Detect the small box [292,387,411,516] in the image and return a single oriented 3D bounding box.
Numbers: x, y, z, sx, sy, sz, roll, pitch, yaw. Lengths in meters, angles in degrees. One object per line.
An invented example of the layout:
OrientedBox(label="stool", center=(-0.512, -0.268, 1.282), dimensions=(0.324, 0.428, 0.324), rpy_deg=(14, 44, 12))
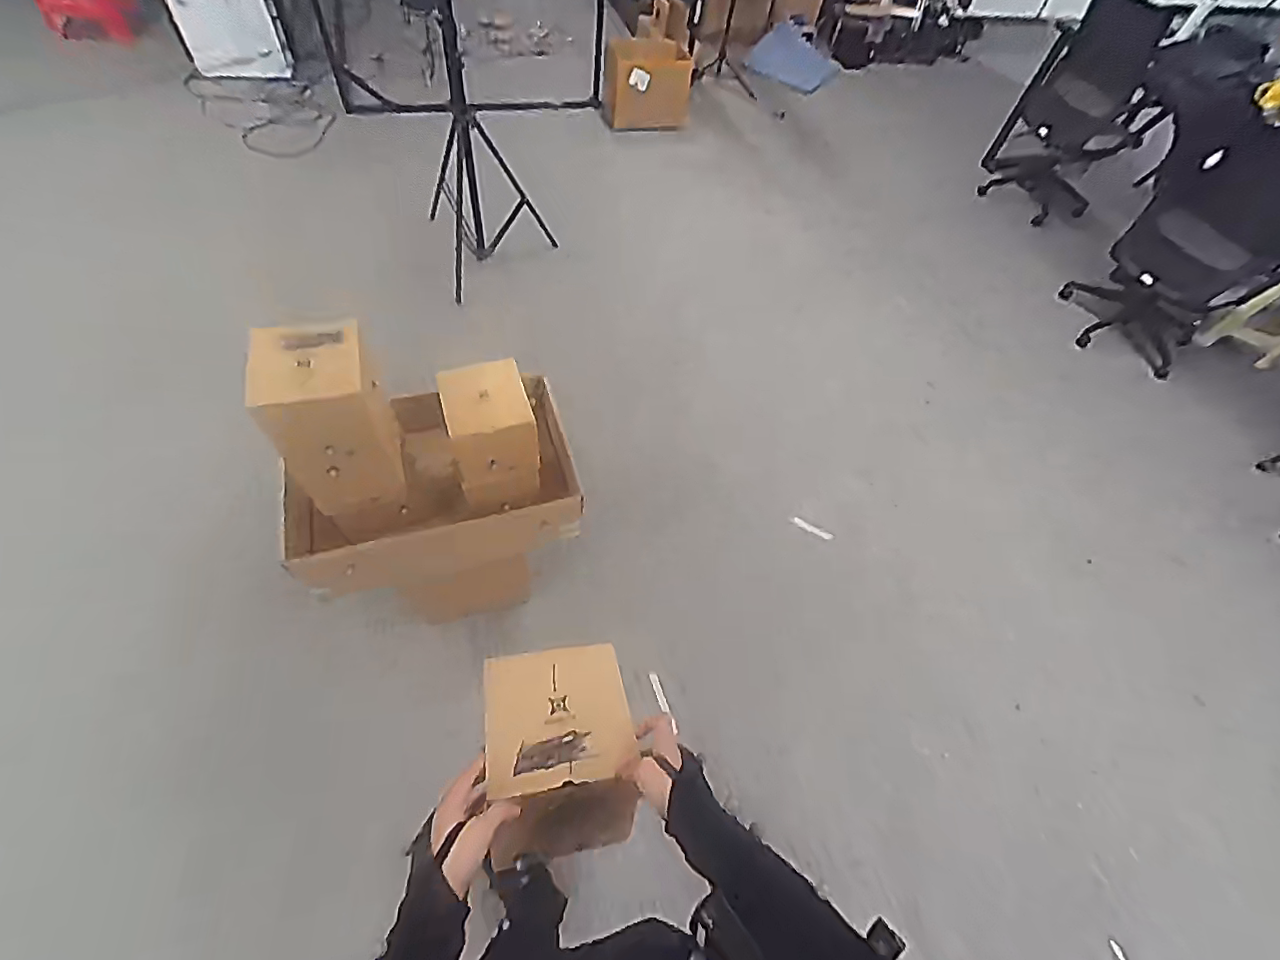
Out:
OrientedBox(label="small box", center=(-0.566, -0.055, 1.075), dimensions=(0.168, 0.176, 0.179), rpy_deg=(-12, 58, -15))

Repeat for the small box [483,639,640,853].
OrientedBox(label="small box", center=(-0.105, 0.328, 0.668), dimensions=(0.168, 0.176, 0.179), rpy_deg=(-2, 35, -16))

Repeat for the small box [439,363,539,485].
OrientedBox(label="small box", center=(-0.316, -0.117, 1.146), dimensions=(0.168, 0.176, 0.179), rpy_deg=(-15, 61, -16))
